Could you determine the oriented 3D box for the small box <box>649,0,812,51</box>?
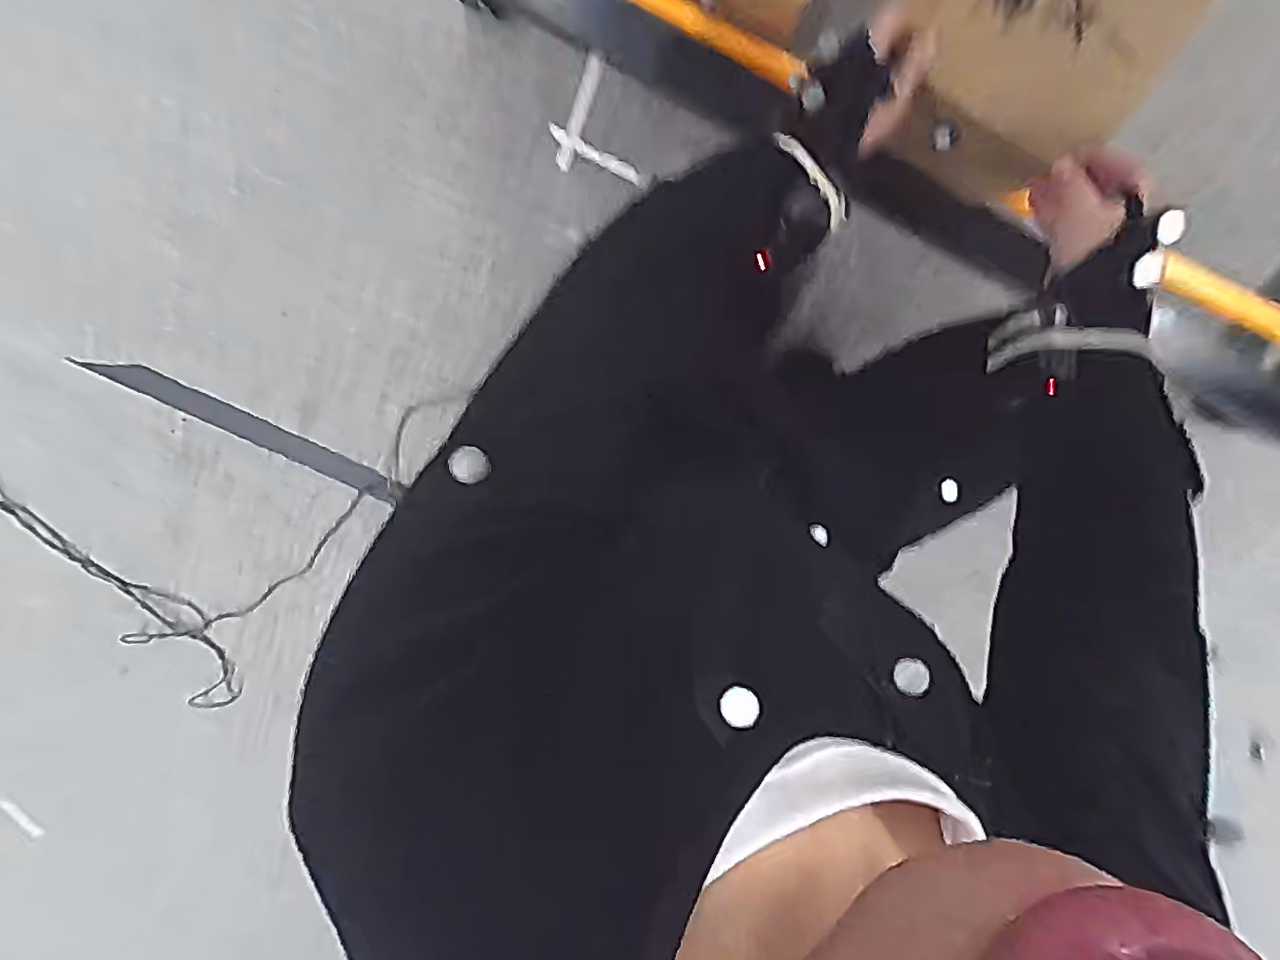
[{"bbox_3d":[0.108,-0.573,0.542,0.179,0.176,0.168,18,112,-3],"label":"small box"}]

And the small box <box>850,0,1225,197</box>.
[{"bbox_3d":[0.313,-0.365,0.458,0.179,0.176,0.168,29,111,-9],"label":"small box"}]
